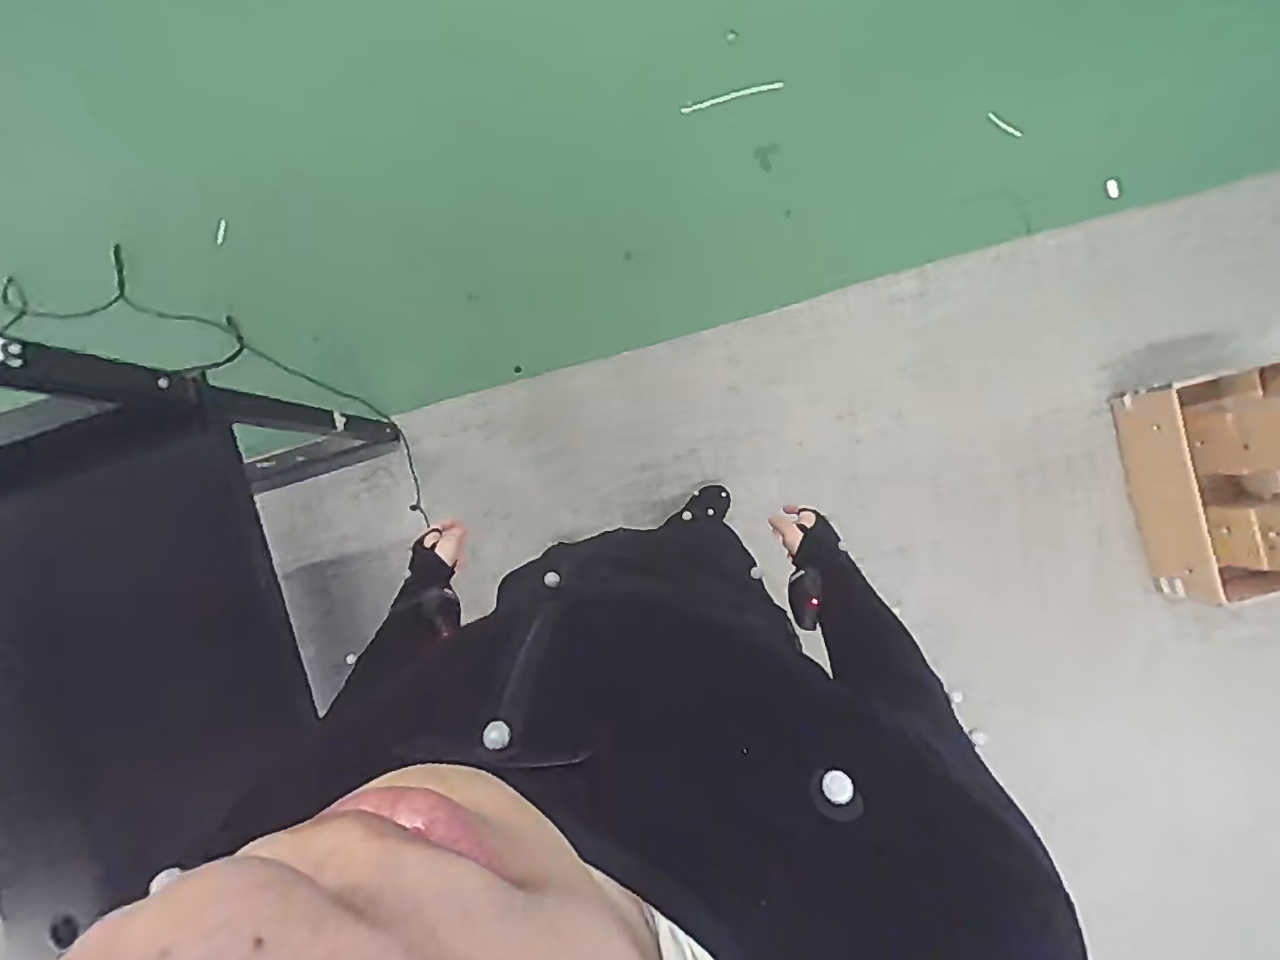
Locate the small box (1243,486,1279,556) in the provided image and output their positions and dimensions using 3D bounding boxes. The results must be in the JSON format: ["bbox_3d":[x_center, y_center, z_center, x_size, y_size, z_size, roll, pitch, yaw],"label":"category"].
[{"bbox_3d":[1.684,0.095,1.340,0.179,0.176,0.168,-13,89,1],"label":"small box"}]

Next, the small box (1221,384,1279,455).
[{"bbox_3d":[1.616,-0.158,1.334,0.179,0.176,0.168,-11,90,0],"label":"small box"}]

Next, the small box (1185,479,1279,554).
[{"bbox_3d":[1.681,0.098,1.504,0.179,0.176,0.168,-16,90,1],"label":"small box"}]

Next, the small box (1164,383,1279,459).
[{"bbox_3d":[1.616,-0.156,1.499,0.179,0.176,0.168,-16,92,1],"label":"small box"}]
